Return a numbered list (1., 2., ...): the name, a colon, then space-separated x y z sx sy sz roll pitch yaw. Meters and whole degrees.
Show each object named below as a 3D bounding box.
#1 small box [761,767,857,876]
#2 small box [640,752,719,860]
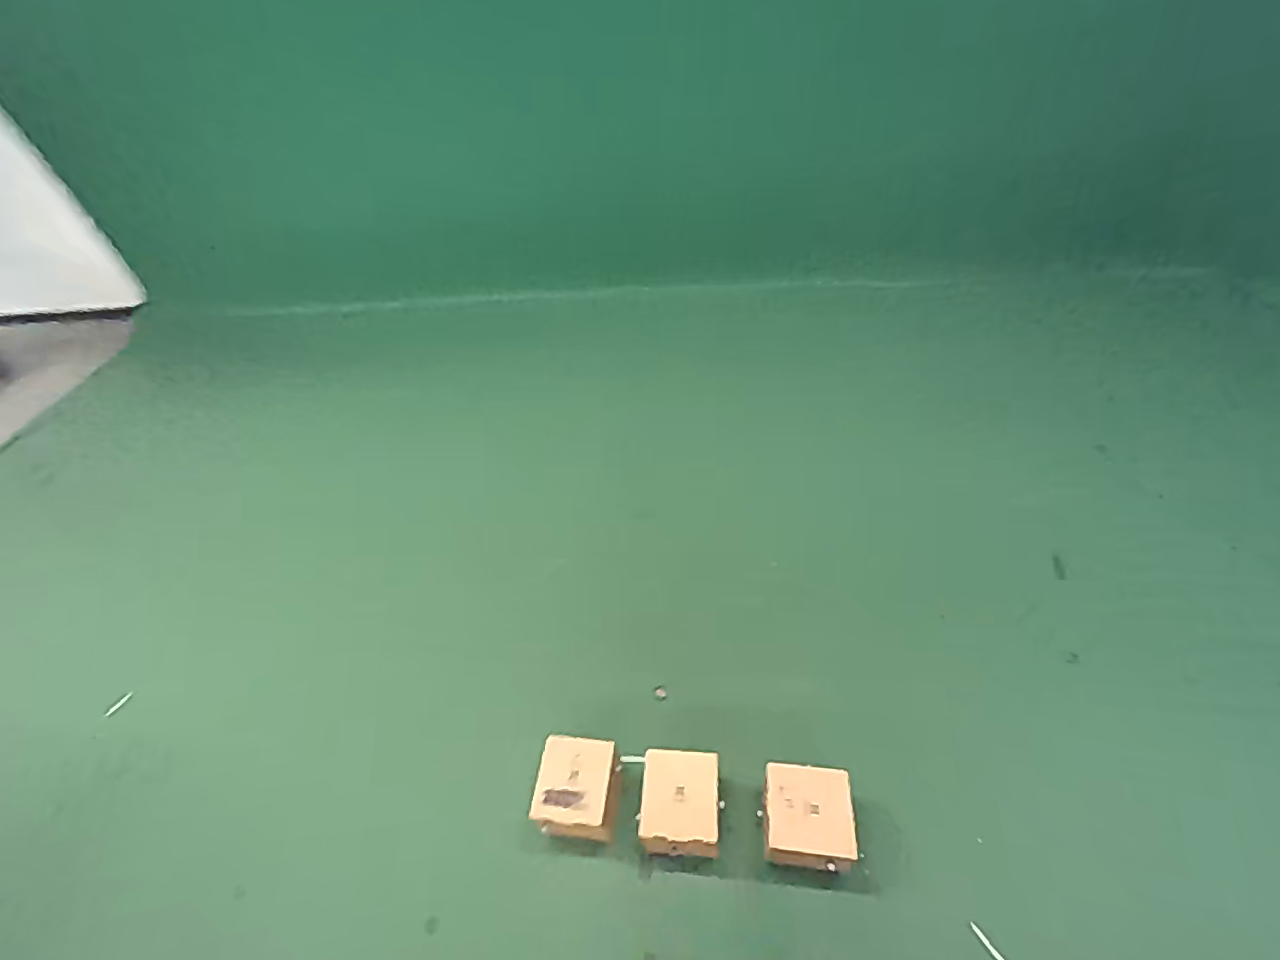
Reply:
1. small box: 0.367 0.760 1.199 0.179 0.176 0.168 3 47 10
2. small box: 0.096 0.752 1.247 0.168 0.176 0.179 1 48 8
